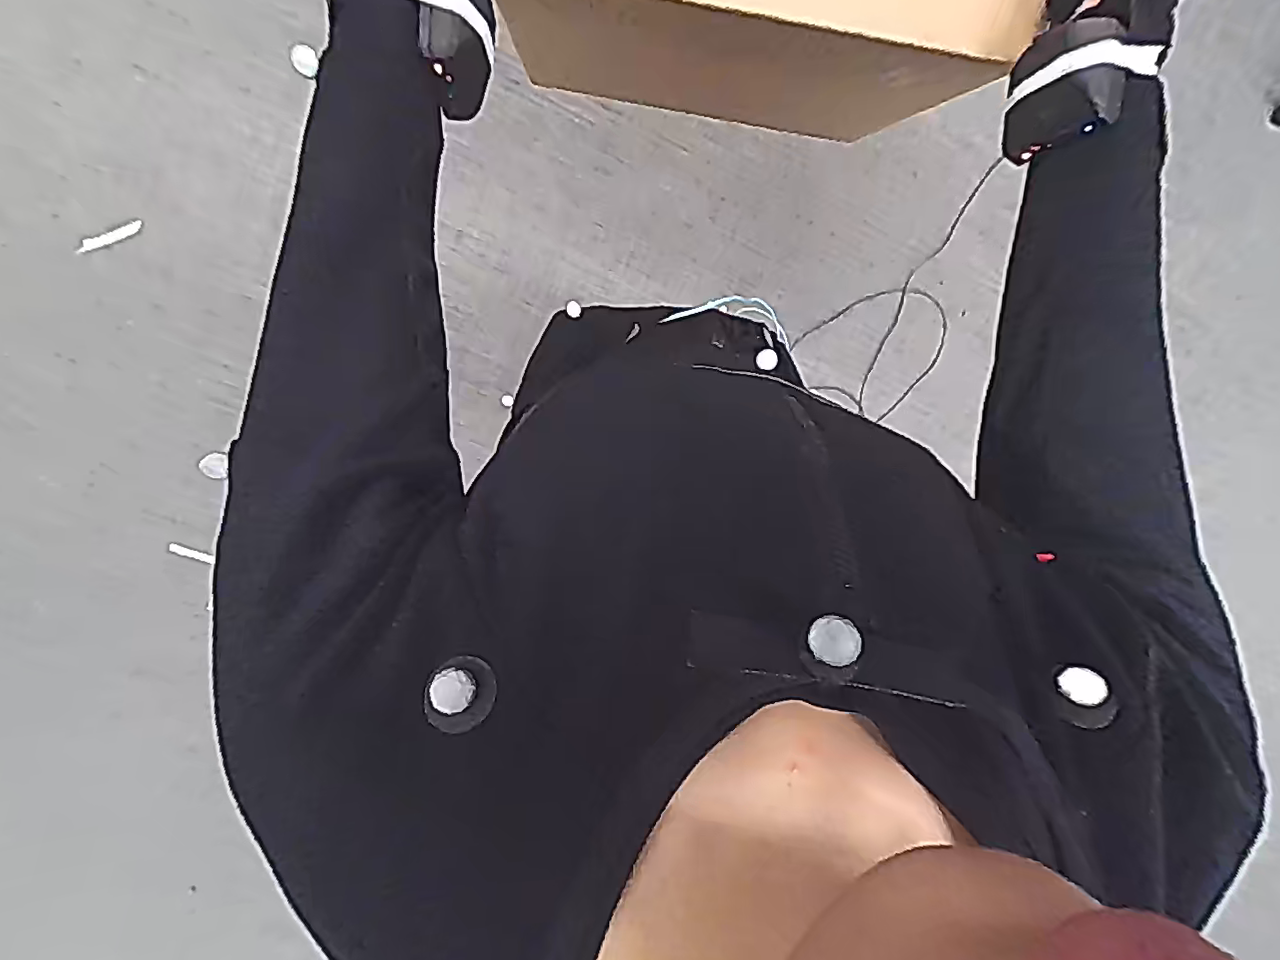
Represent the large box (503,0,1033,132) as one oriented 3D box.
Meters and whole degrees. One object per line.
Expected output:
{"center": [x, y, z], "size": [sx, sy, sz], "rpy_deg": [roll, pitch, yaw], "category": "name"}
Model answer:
{"center": [0.094, -0.534, 0.466], "size": [0.408, 0.320, 0.320], "rpy_deg": [5, 113, -7], "category": "large box"}
